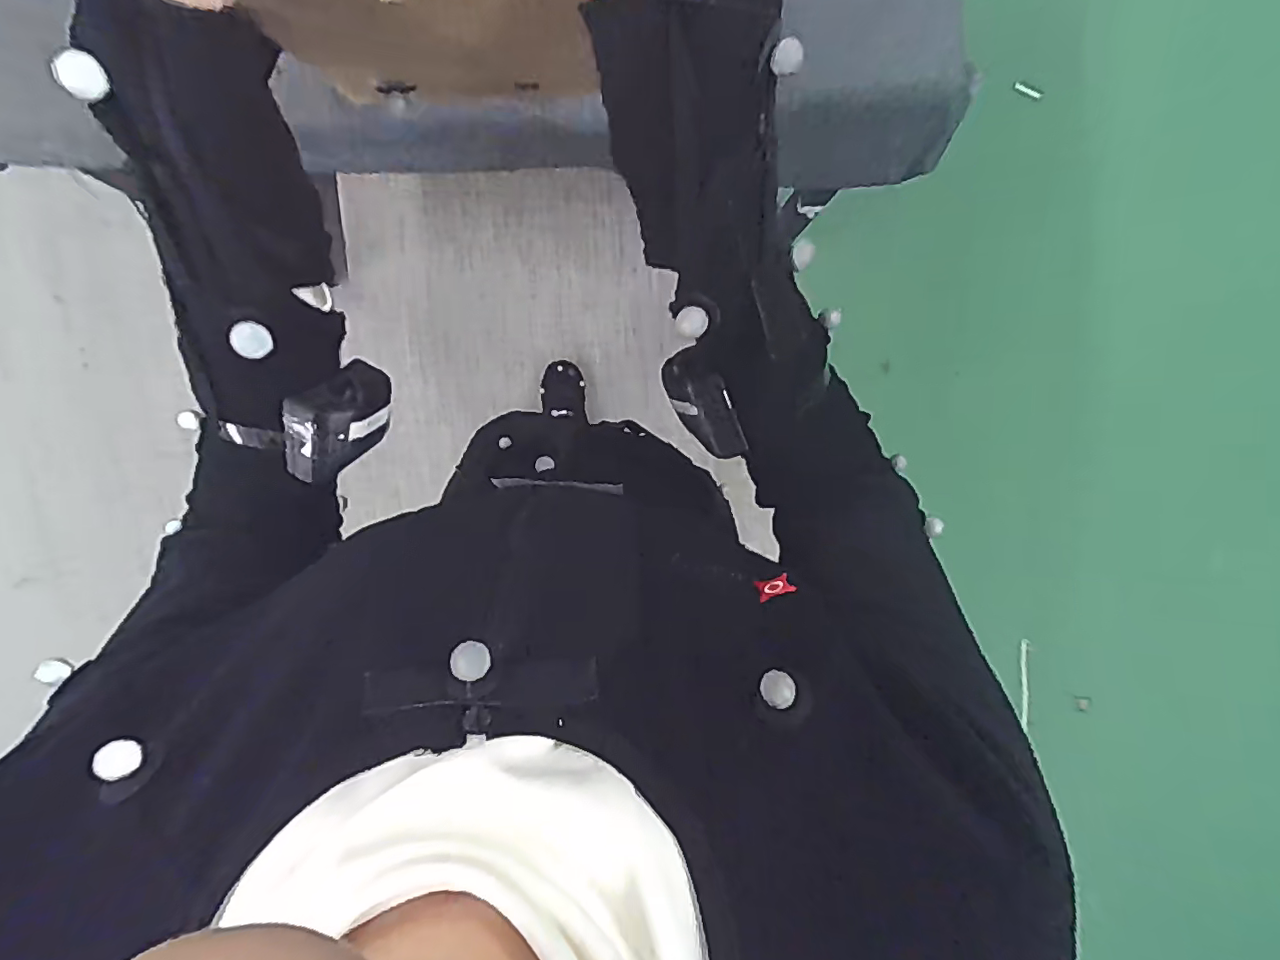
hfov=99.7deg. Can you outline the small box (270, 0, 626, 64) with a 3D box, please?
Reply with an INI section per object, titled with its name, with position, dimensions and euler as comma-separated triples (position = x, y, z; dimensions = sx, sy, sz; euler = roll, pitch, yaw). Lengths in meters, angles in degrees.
[small box]
position = -0.089, -0.293, 0.215
dimensions = 0.168, 0.176, 0.179
euler = -5, 110, -4
